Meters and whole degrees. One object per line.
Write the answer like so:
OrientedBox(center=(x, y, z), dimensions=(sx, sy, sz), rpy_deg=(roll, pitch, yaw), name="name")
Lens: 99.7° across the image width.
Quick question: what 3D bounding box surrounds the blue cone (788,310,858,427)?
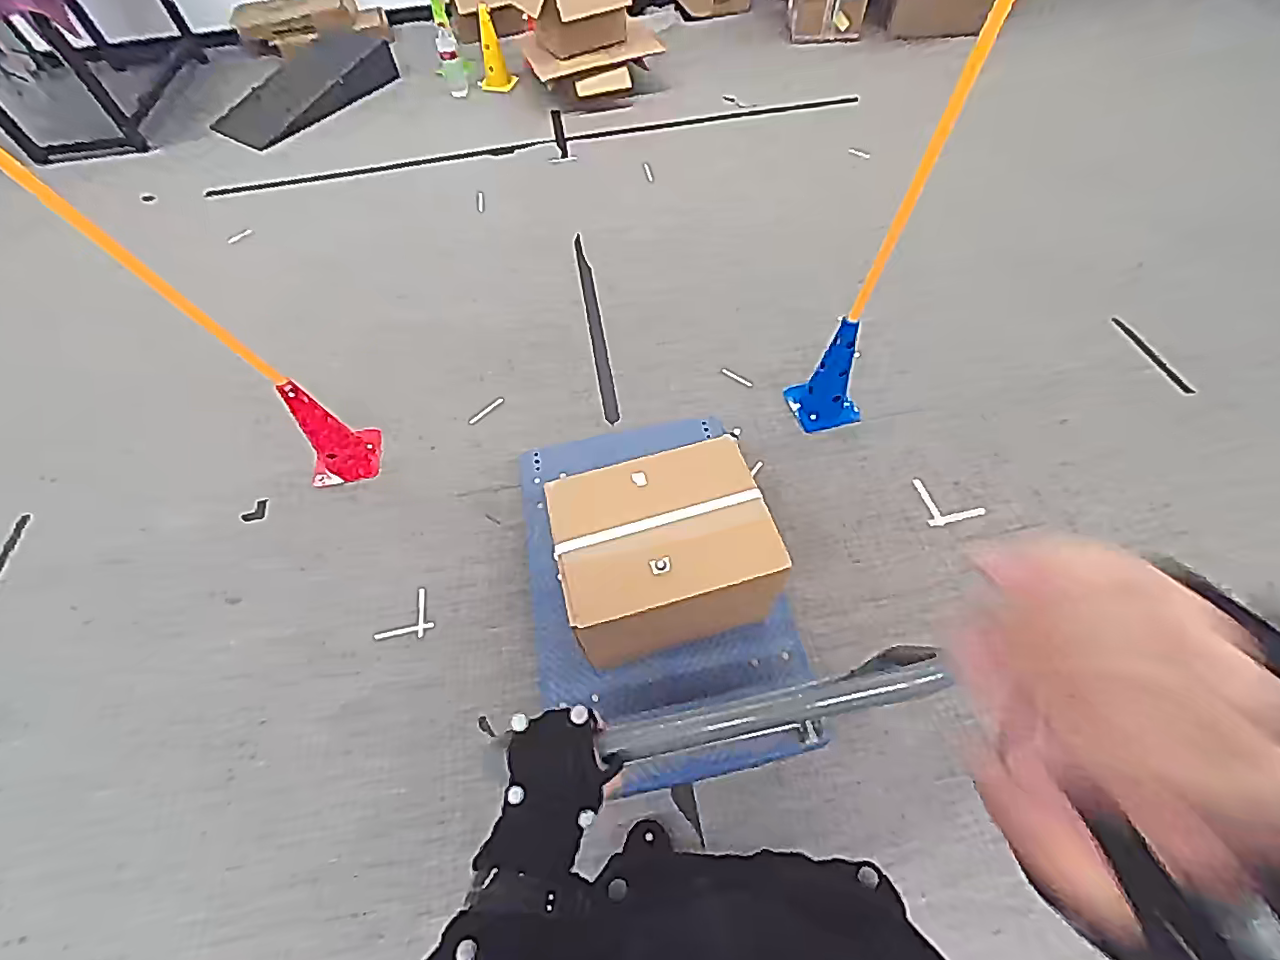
OrientedBox(center=(0.595, -0.345, 1.636), dimensions=(0.193, 0.380, 0.192), rpy_deg=(-13, 57, -6), name="blue cone")
